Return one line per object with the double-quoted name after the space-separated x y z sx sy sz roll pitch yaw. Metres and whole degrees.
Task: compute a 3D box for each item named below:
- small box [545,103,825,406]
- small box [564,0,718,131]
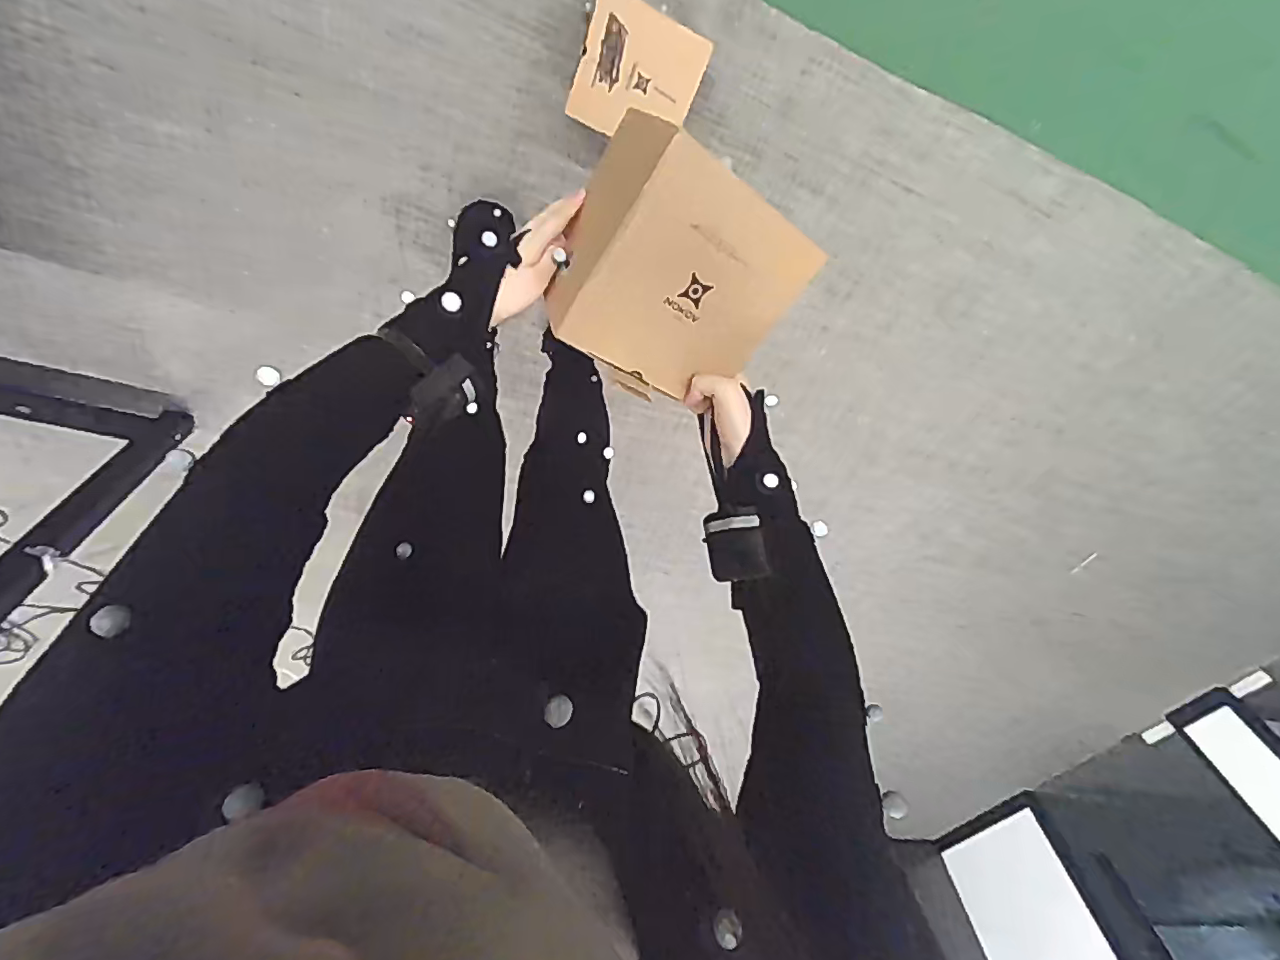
0.024 -0.206 0.498 0.168 0.176 0.179 22 118 -31 "small box"
-0.007 -0.629 0.835 0.179 0.176 0.168 16 127 -19 "small box"
